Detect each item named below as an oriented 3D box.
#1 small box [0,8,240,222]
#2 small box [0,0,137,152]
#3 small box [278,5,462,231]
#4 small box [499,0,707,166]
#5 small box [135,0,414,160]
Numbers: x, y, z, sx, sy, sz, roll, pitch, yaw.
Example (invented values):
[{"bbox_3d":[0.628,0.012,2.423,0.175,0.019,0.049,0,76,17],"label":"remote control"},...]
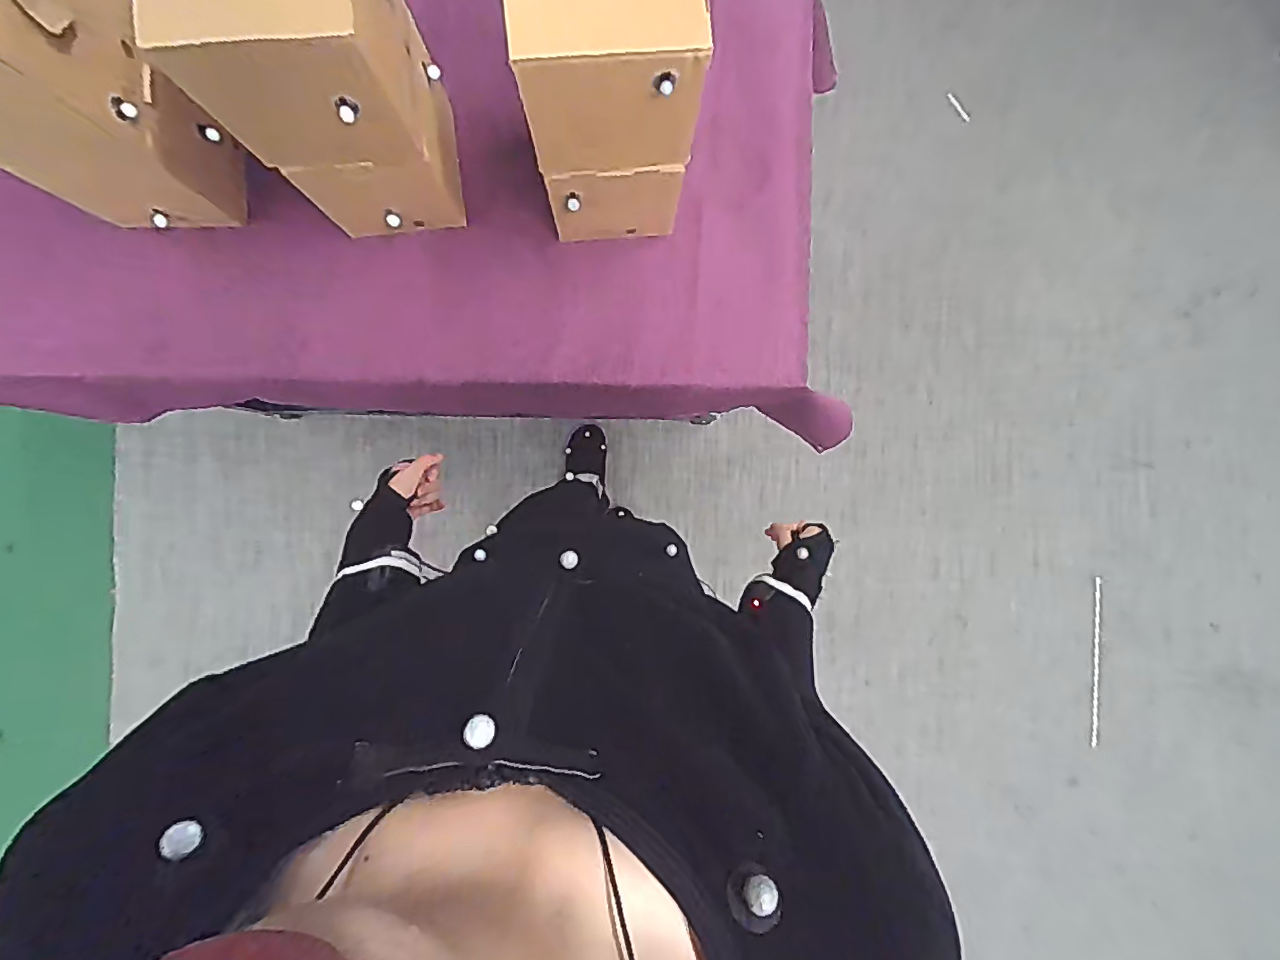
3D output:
[{"bbox_3d":[-0.637,-0.441,0.675,0.179,0.176,0.168,-1,90,-3],"label":"small box"},{"bbox_3d":[-0.629,-0.439,0.511,0.179,0.176,0.168,-1,91,-2],"label":"small box"},{"bbox_3d":[-0.338,-0.446,0.689,0.168,0.176,0.179,-6,91,-2],"label":"small box"},{"bbox_3d":[-0.038,-0.441,0.539,0.179,0.176,0.168,-6,91,-3],"label":"small box"},{"bbox_3d":[-0.334,-0.441,0.526,0.179,0.176,0.168,-4,90,-2],"label":"small box"}]
